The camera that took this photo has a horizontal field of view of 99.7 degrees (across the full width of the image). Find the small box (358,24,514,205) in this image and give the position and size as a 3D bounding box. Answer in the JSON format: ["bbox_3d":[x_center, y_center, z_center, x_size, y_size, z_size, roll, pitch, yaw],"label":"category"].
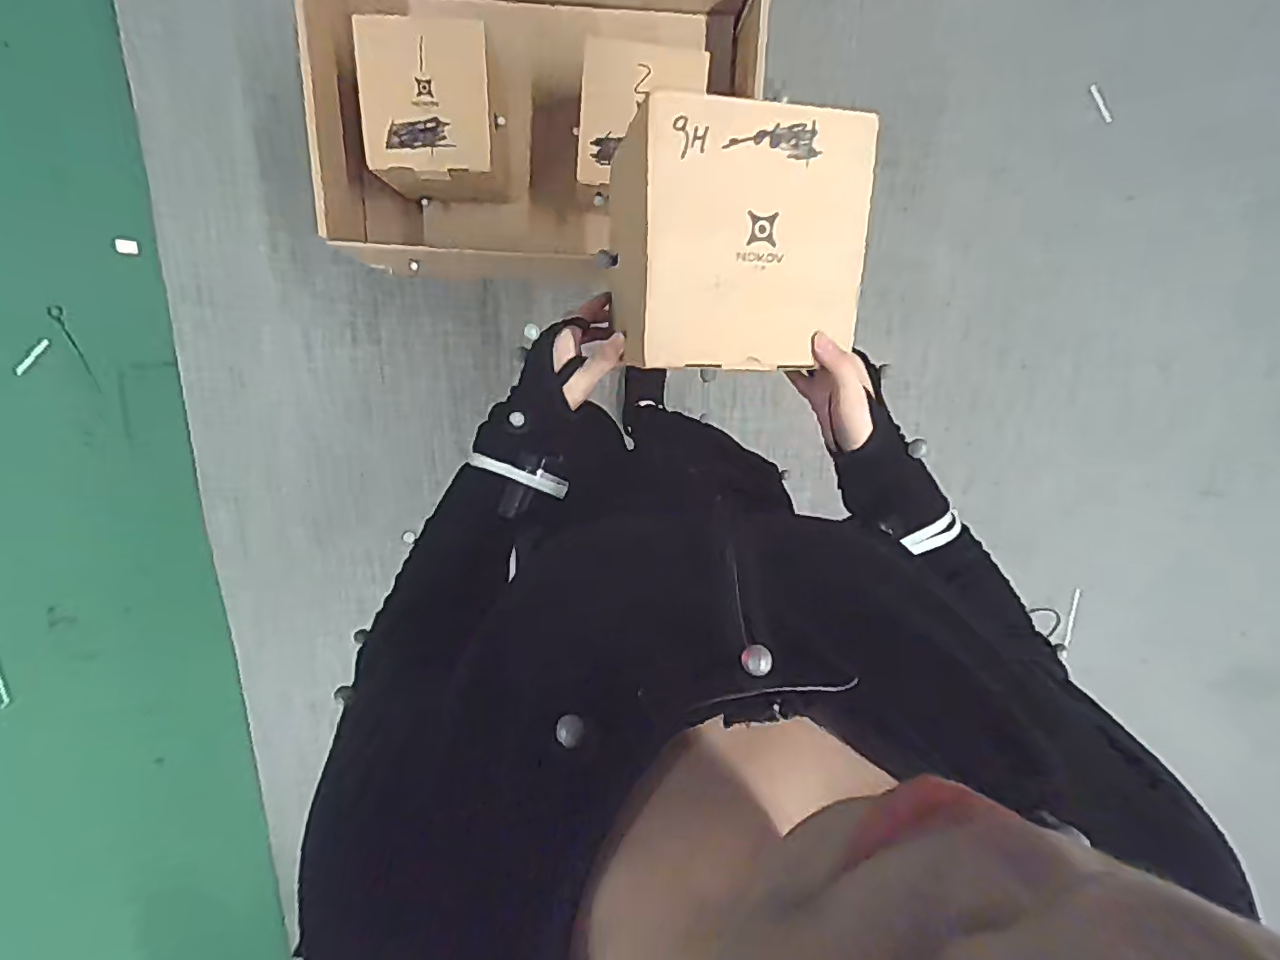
[{"bbox_3d":[-0.281,-0.513,0.786,0.168,0.176,0.179,0,103,-3],"label":"small box"}]

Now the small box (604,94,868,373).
[{"bbox_3d":[0.062,-0.188,0.461,0.168,0.176,0.179,-1,105,-12],"label":"small box"}]
